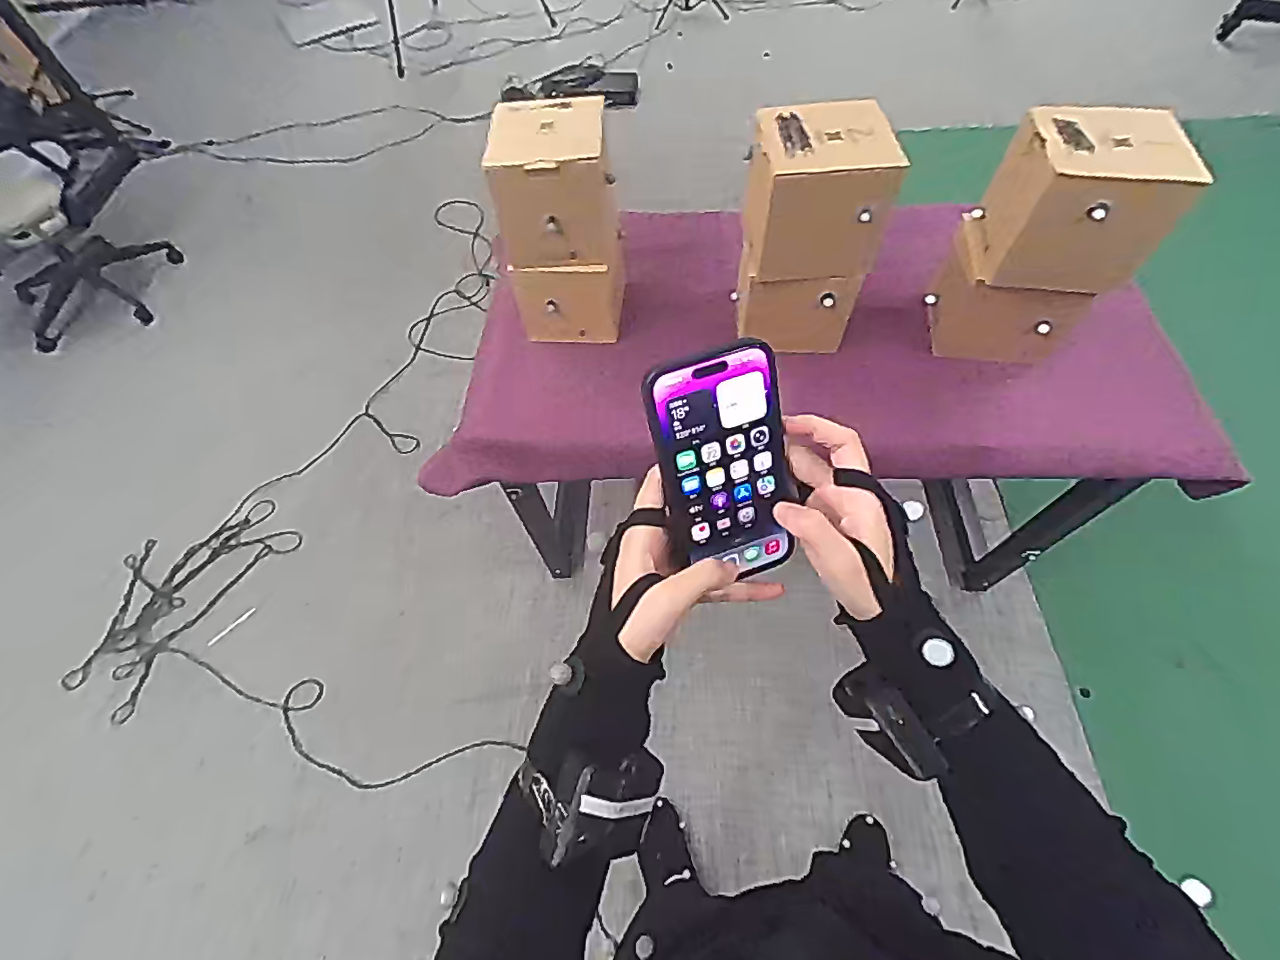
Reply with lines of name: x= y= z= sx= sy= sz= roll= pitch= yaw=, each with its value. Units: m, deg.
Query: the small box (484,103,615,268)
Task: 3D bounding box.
small box: x=-0.130 y=-0.453 z=0.850 sx=0.168 sy=0.176 sz=0.179 roll=-2 pitch=59 yaw=3

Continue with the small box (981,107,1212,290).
small box: x=0.602 y=-0.385 z=0.750 sx=0.179 sy=0.176 sz=0.168 roll=7 pitch=59 yaw=8

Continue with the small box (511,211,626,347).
small box: x=-0.119 y=-0.361 z=0.986 sx=0.168 sy=0.176 sz=0.179 roll=2 pitch=59 yaw=6

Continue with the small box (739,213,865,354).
small box: x=0.268 y=-0.334 z=0.937 sx=0.179 sy=0.176 sz=0.168 roll=1 pitch=59 yaw=6

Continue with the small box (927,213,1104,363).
small box: x=0.606 y=-0.313 z=0.897 sx=0.179 sy=0.176 sz=0.168 roll=7 pitch=59 yaw=9
